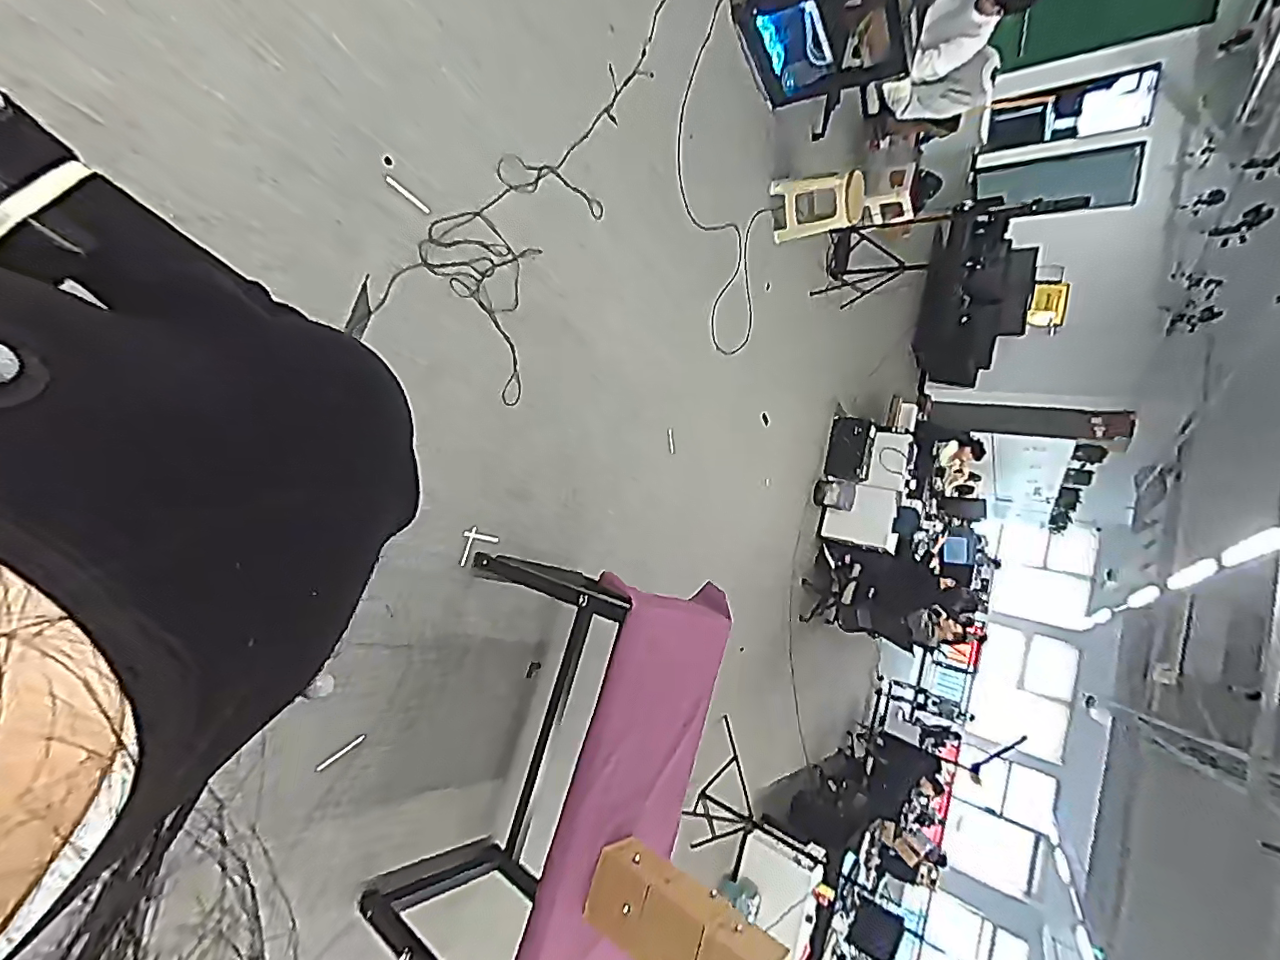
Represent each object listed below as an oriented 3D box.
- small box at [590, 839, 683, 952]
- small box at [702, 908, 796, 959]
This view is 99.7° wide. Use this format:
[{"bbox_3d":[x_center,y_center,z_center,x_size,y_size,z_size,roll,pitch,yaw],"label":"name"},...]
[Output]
[{"bbox_3d":[-0.012,1.115,1.474,0.168,0.176,0.179,30,75,-52],"label":"small box"},{"bbox_3d":[0.245,1.171,1.275,0.168,0.176,0.179,30,74,-52],"label":"small box"}]
